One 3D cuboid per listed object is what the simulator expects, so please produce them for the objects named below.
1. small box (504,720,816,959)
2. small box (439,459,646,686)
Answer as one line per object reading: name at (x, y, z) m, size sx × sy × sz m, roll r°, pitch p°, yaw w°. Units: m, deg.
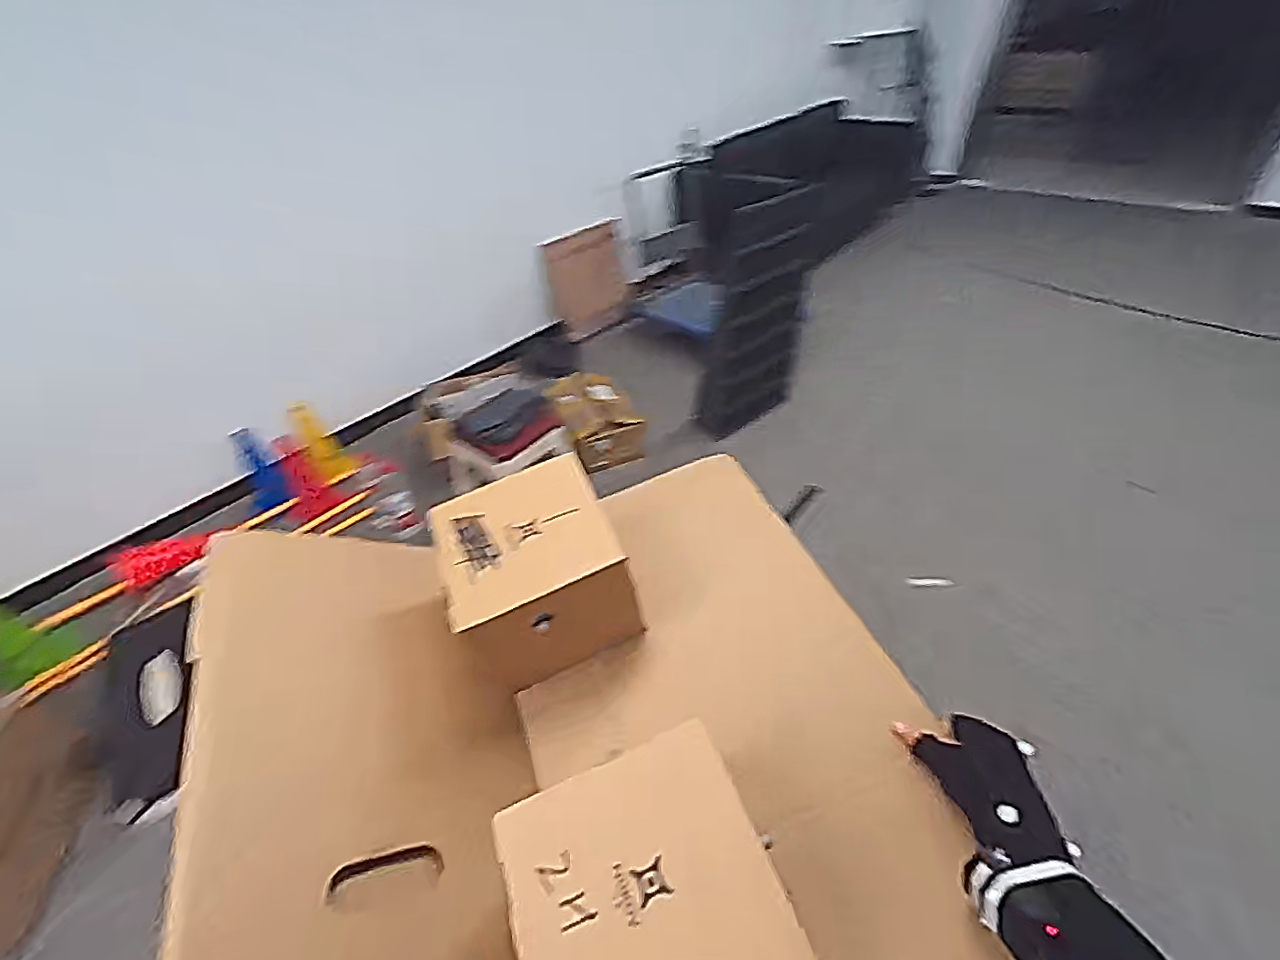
small box at (0.014, 0.327, 0.436) m, size 0.179 × 0.176 × 0.168 m, roll -22°, pitch 50°, yaw -7°
small box at (-0.109, 0.112, 0.637) m, size 0.179 × 0.176 × 0.168 m, roll -23°, pitch 51°, yaw -9°
